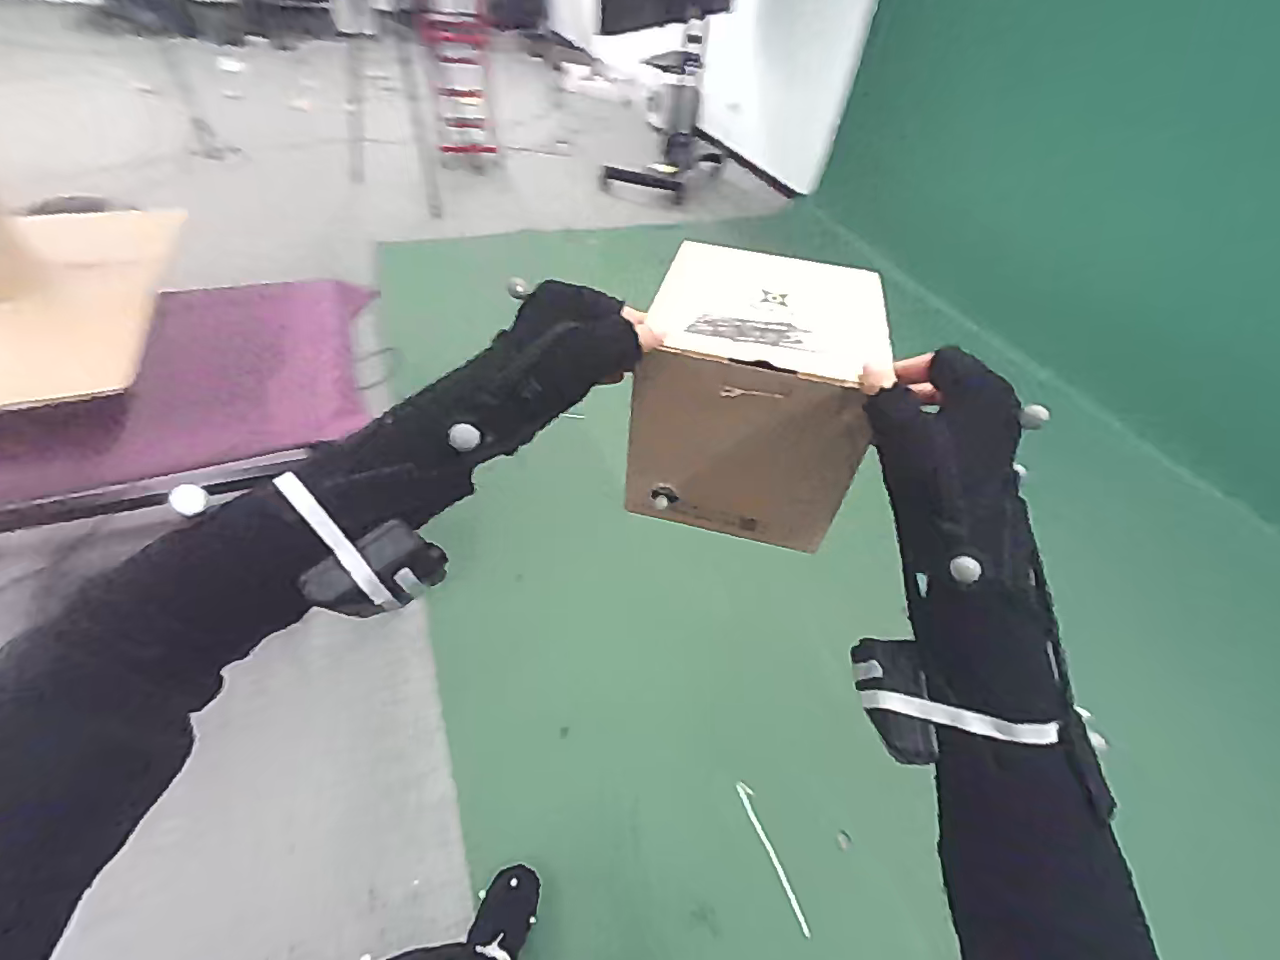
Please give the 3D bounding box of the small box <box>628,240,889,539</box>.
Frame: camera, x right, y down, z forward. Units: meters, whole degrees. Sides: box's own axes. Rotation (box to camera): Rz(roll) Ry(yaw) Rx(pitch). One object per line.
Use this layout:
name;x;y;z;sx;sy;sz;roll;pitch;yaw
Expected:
small box;0.085;-0.073;0.453;0.168;0.176;0.179;10;47;4
